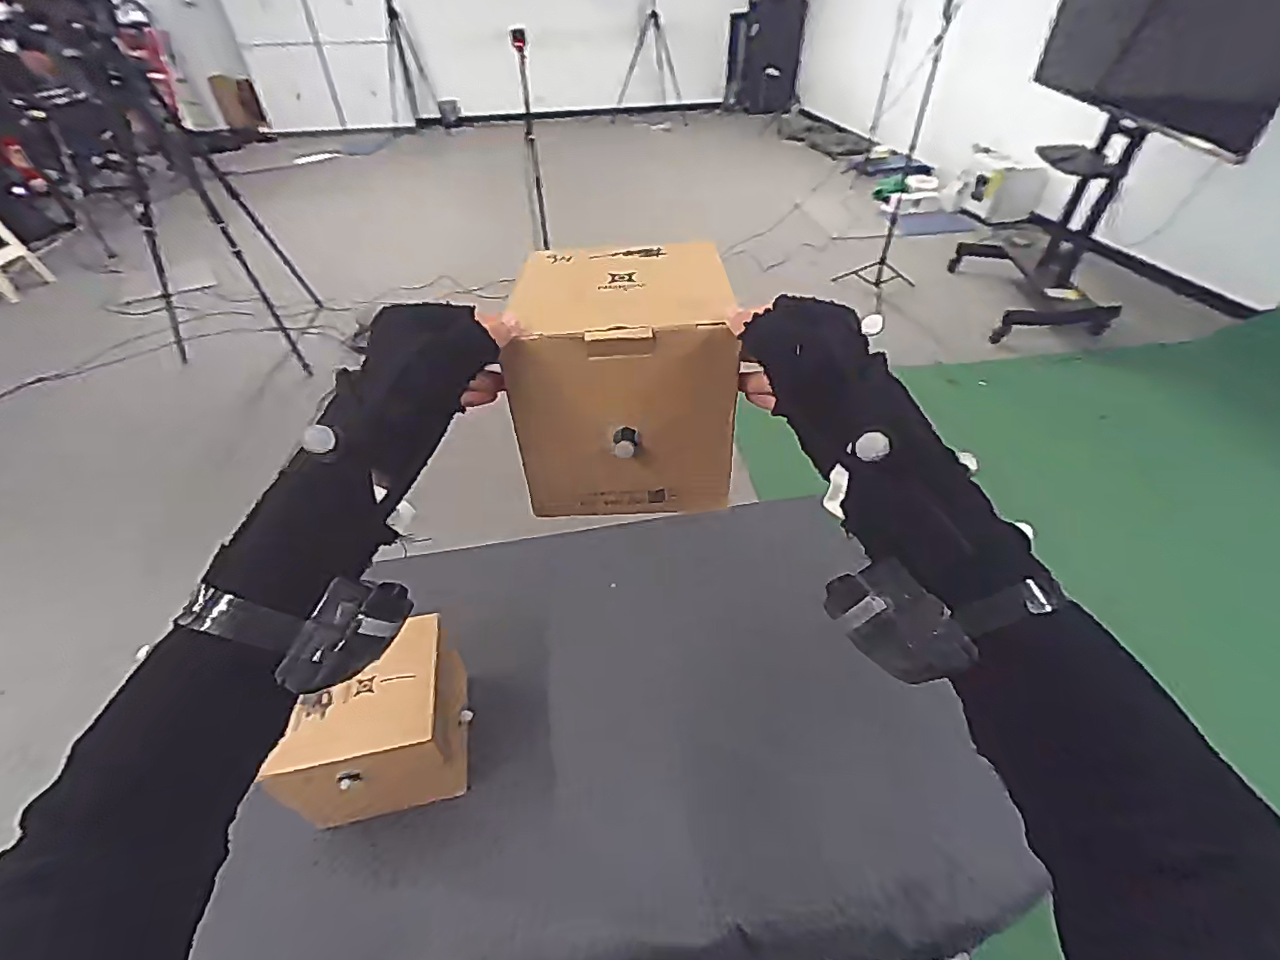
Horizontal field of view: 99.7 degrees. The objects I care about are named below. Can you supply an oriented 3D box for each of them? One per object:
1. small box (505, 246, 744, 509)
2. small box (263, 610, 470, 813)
[{"bbox_3d":[-0.005,-0.086,0.473,0.168,0.176,0.179,-2,41,2],"label":"small box"},{"bbox_3d":[-0.324,0.293,0.683,0.179,0.176,0.168,-8,44,-10],"label":"small box"}]
